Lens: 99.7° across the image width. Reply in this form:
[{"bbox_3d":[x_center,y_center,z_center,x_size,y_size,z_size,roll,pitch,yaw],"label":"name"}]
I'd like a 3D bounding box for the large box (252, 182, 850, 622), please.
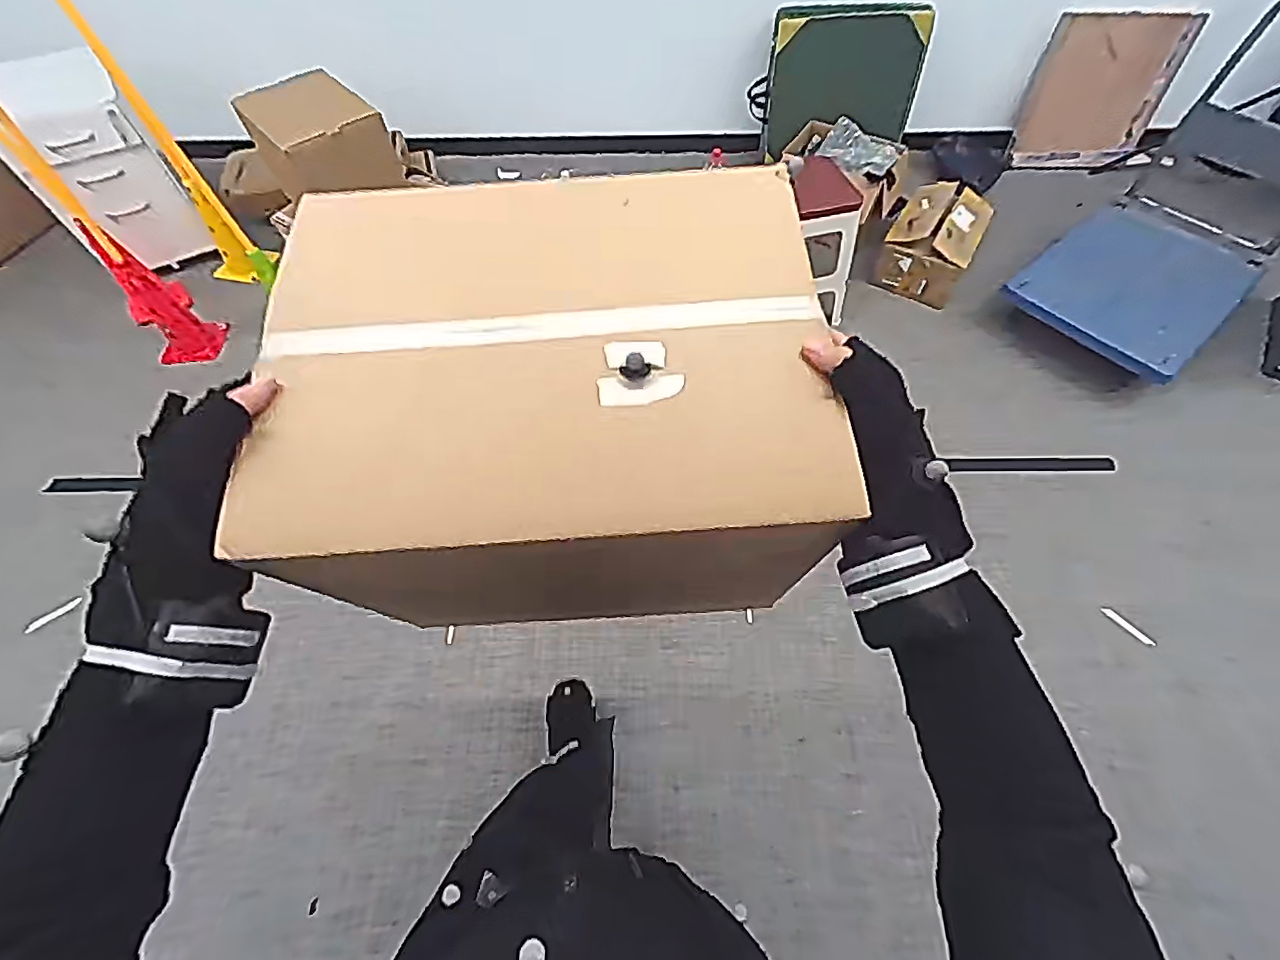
[{"bbox_3d":[-0.065,-0.049,0.548,0.408,0.320,0.320,-4,67,0],"label":"large box"}]
